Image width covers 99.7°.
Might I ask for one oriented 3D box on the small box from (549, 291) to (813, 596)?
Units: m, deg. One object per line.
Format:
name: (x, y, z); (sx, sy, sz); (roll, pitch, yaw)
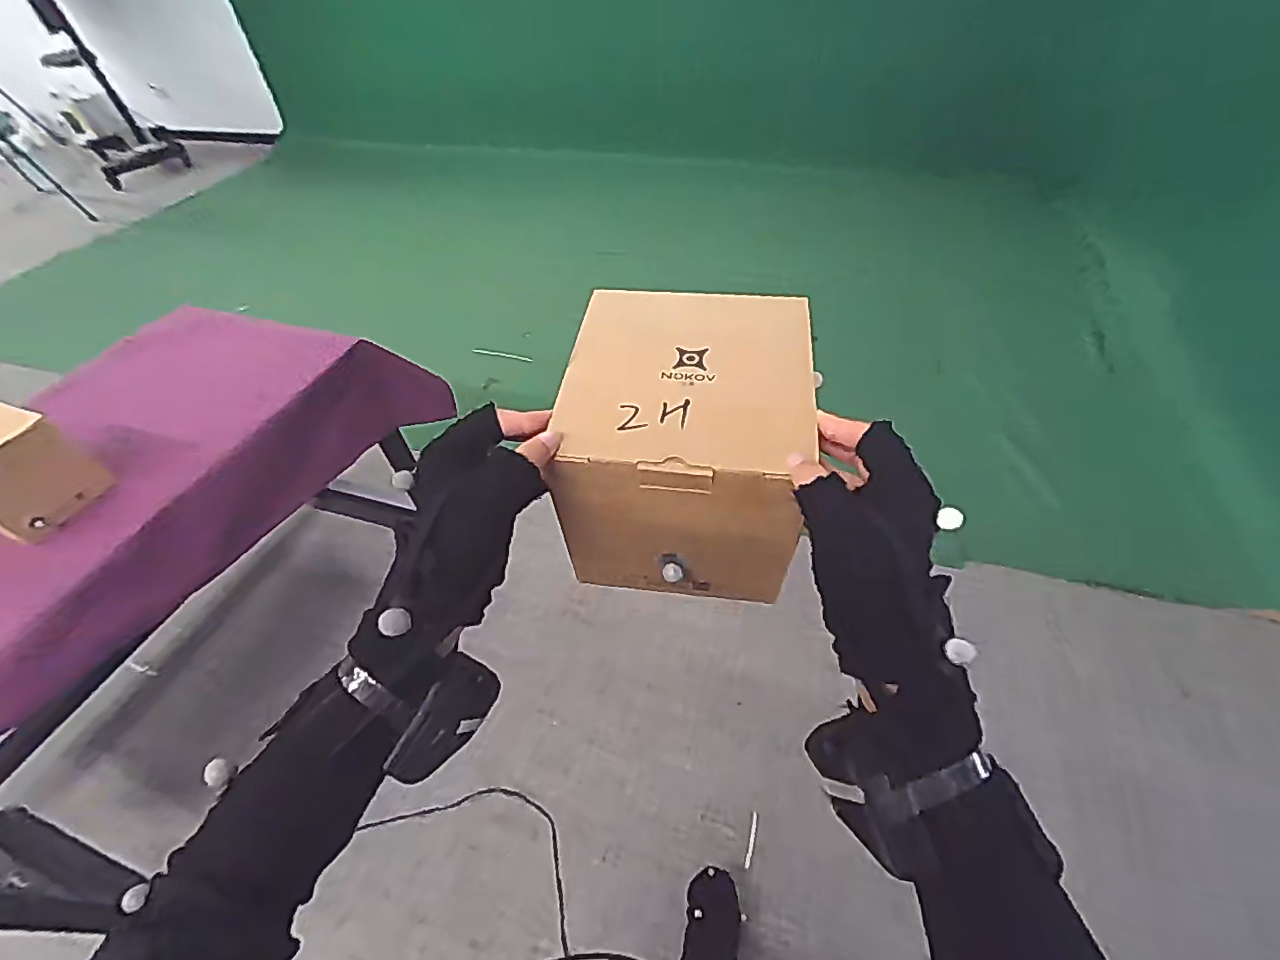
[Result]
small box: (0.038, -0.029, 0.440); (0.168, 0.176, 0.179); (5, 53, 8)

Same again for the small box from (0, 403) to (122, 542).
small box: (-1.116, -0.010, 0.976); (0.179, 0.176, 0.168); (14, 50, 17)
